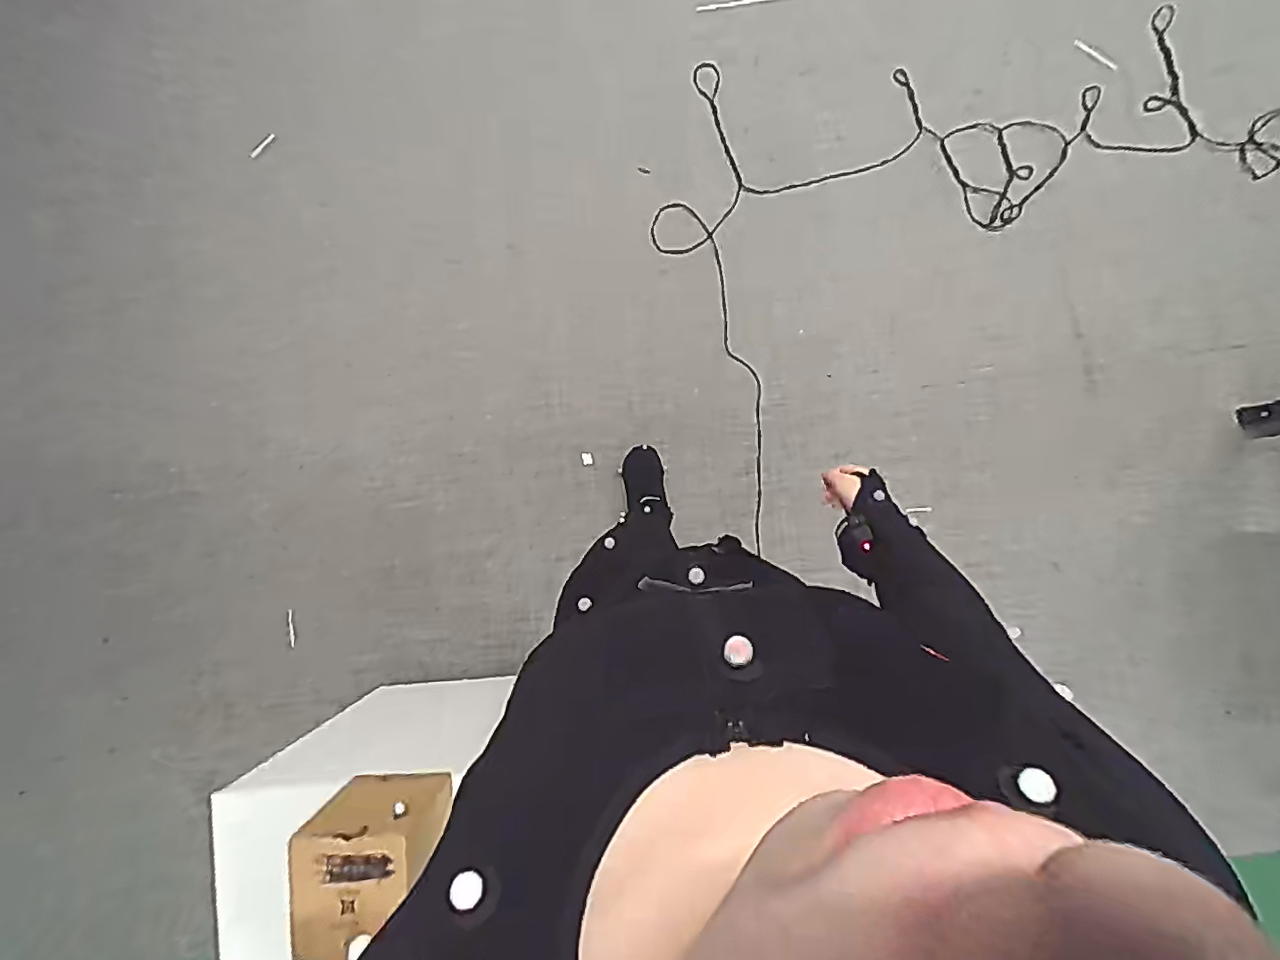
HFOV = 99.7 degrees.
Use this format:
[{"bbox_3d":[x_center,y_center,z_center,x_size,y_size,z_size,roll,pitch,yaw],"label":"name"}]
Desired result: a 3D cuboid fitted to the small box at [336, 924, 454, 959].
[{"bbox_3d":[-0.380,0.810,0.796,0.168,0.176,0.179,-6,86,1],"label":"small box"}]
